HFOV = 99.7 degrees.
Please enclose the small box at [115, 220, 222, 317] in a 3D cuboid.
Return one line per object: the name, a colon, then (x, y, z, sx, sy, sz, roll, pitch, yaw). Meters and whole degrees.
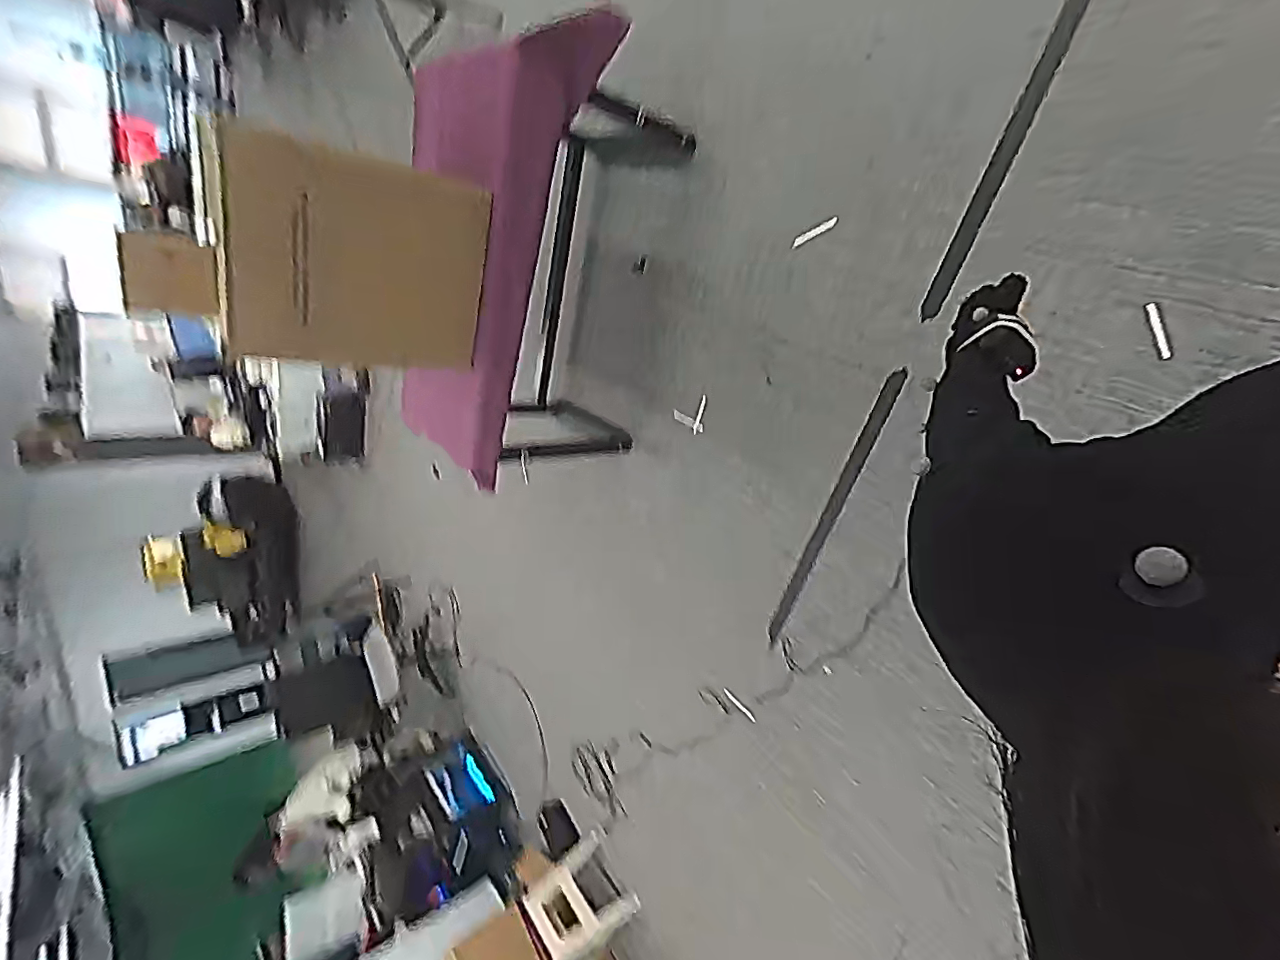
small box: (-1.102, -0.492, 1.267, 0.168, 0.176, 0.179, 31, 118, 41)
